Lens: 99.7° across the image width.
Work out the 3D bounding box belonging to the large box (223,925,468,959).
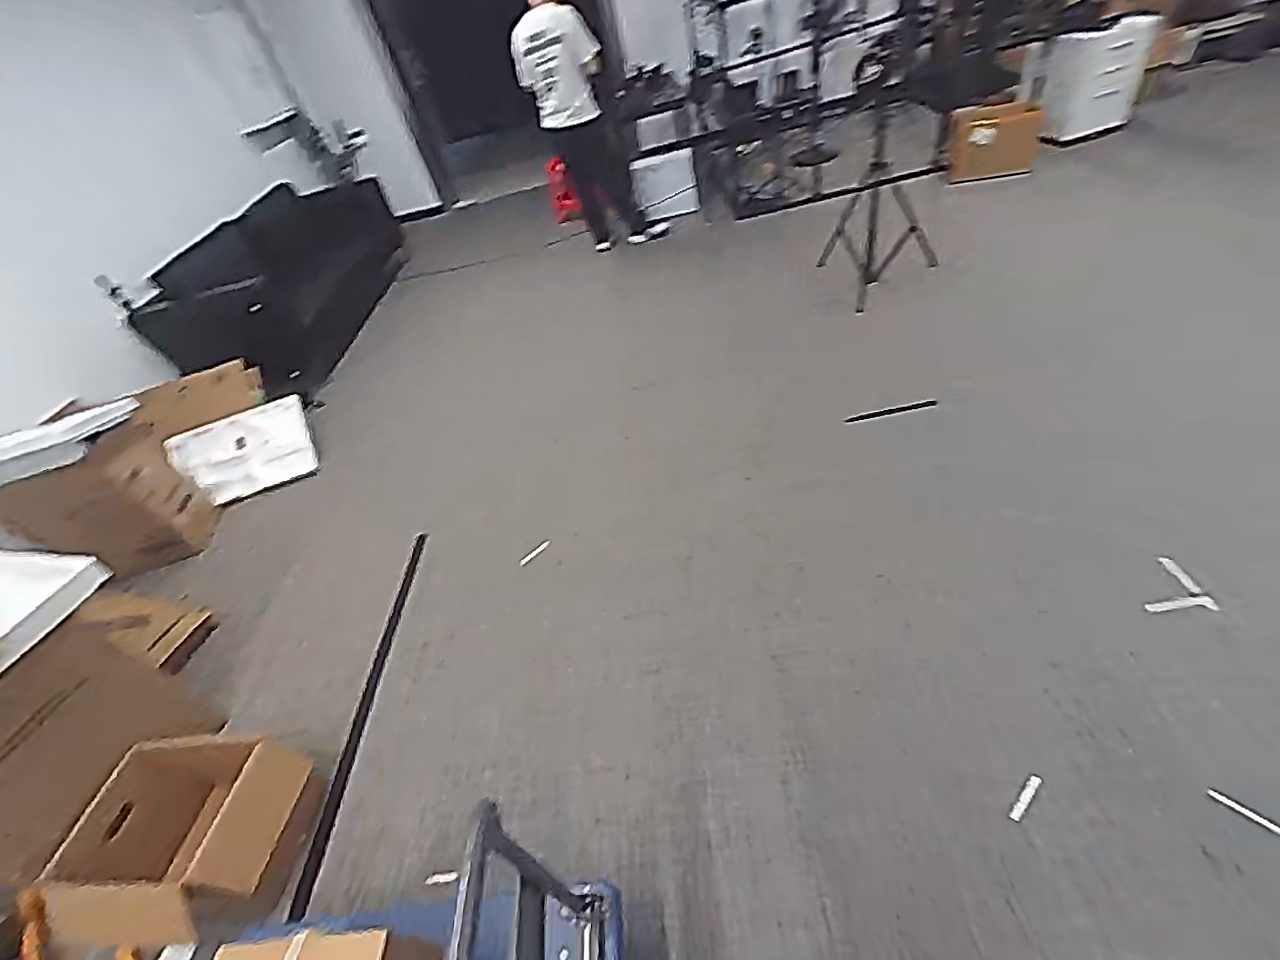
[{"bbox_3d":[-0.506,1.002,0.863,0.320,0.320,0.408,-12,43,7],"label":"large box"}]
